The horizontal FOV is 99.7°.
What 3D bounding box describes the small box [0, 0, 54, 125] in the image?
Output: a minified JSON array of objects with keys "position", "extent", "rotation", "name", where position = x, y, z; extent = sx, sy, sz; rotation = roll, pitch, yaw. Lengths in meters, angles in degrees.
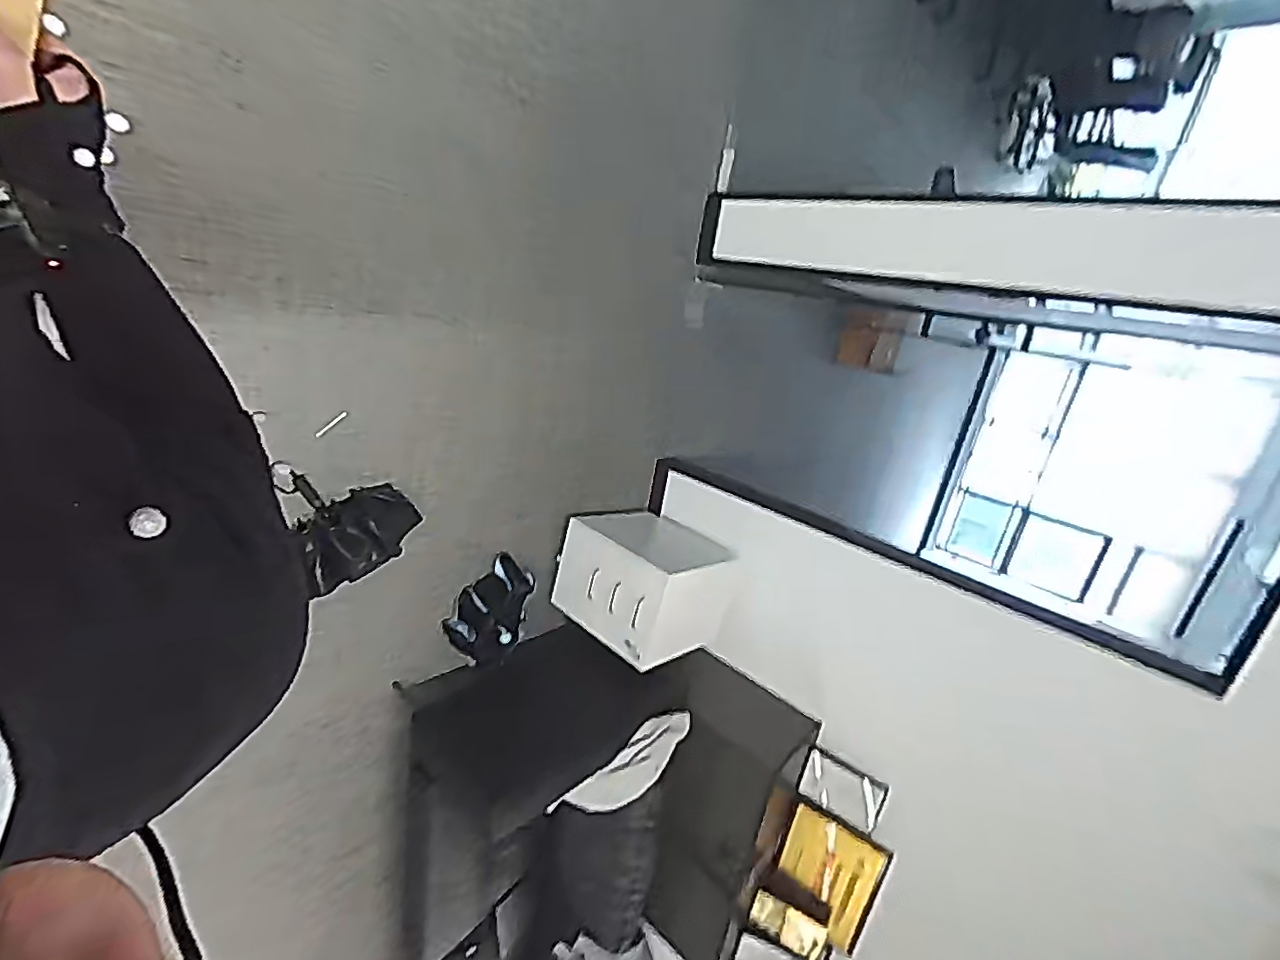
[{"position":[-0.558,-0.405,0.398],"extent":[0.168,0.176,0.179],"rotation":[9,93,-50],"name":"small box"}]
